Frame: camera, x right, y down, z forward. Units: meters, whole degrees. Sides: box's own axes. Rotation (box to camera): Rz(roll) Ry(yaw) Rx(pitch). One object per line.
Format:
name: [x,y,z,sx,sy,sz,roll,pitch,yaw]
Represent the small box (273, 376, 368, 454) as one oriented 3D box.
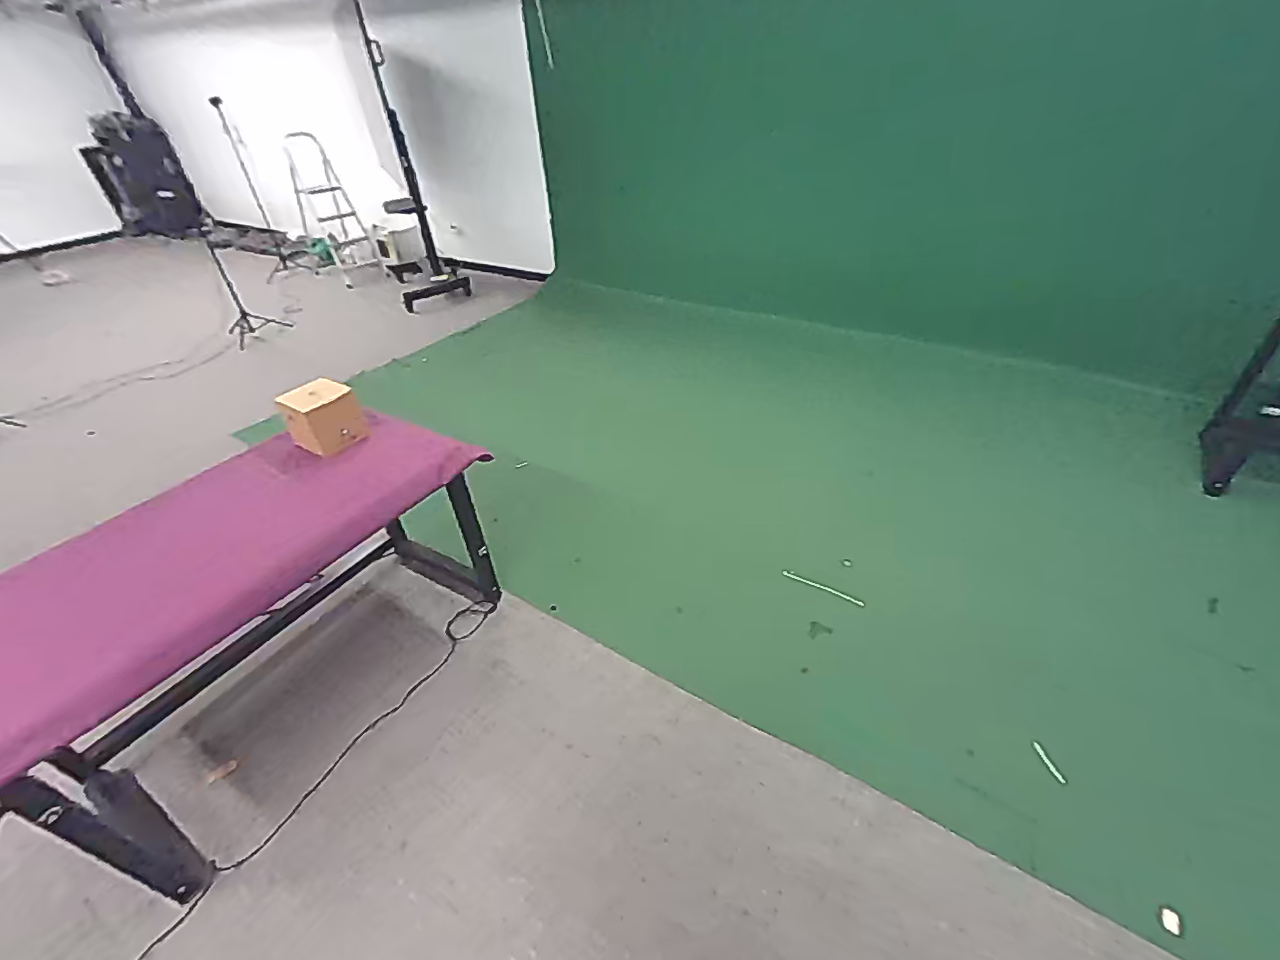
small box: [-1.004,-0.205,1.711,0.179,0.176,0.168,21,45,27]
